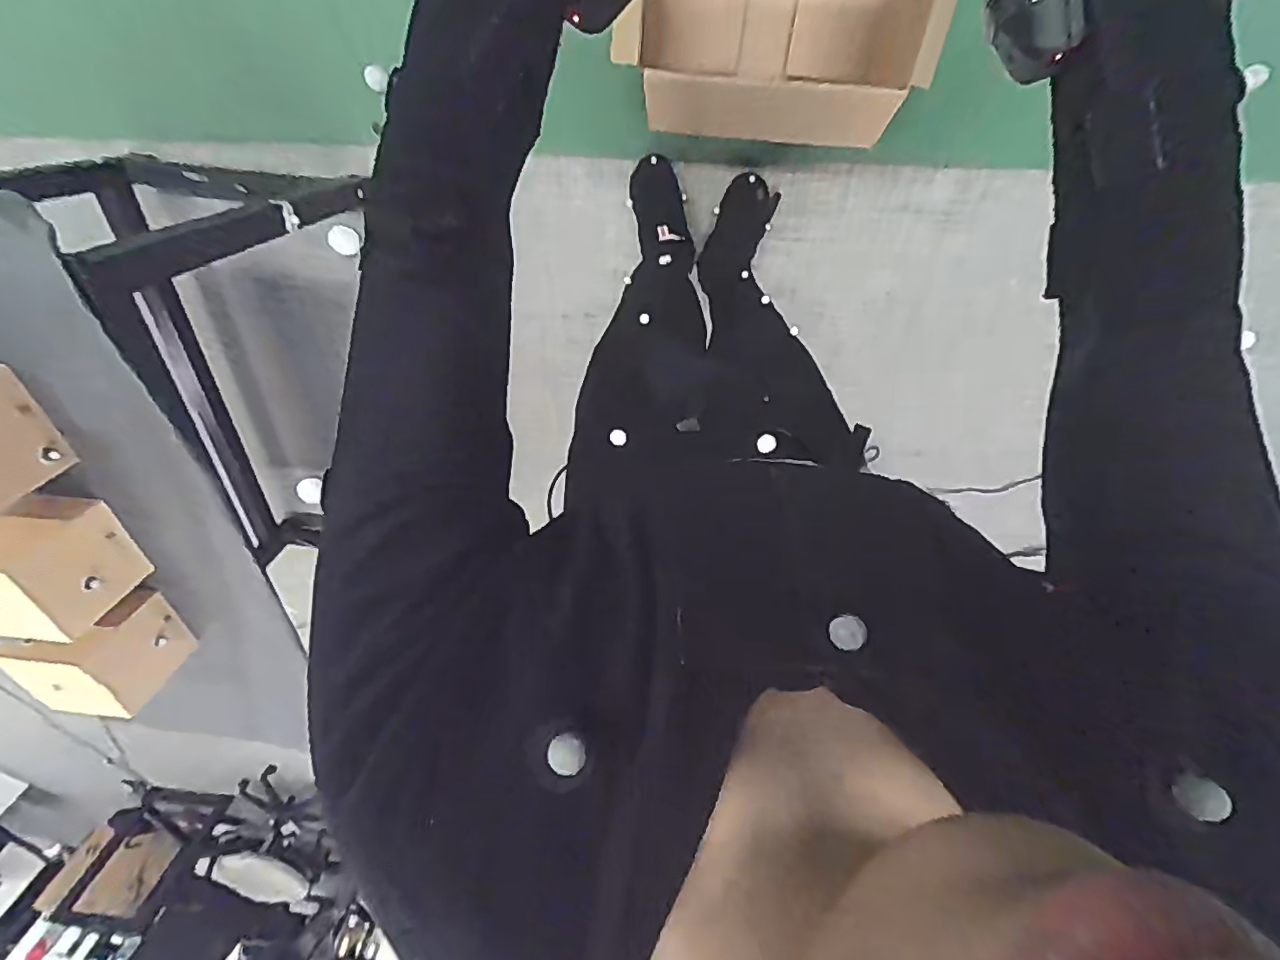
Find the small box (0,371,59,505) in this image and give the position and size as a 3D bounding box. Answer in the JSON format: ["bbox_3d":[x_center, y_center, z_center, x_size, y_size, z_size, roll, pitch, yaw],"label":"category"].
[{"bbox_3d":[-0.960,-0.052,0.726,0.179,0.176,0.168,5,127,5],"label":"small box"}]

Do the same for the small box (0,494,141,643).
[{"bbox_3d":[-0.973,0.138,0.873,0.179,0.176,0.168,5,127,5],"label":"small box"}]

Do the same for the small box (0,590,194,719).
[{"bbox_3d":[-1.004,0.315,1.007,0.179,0.176,0.168,4,127,5],"label":"small box"}]
